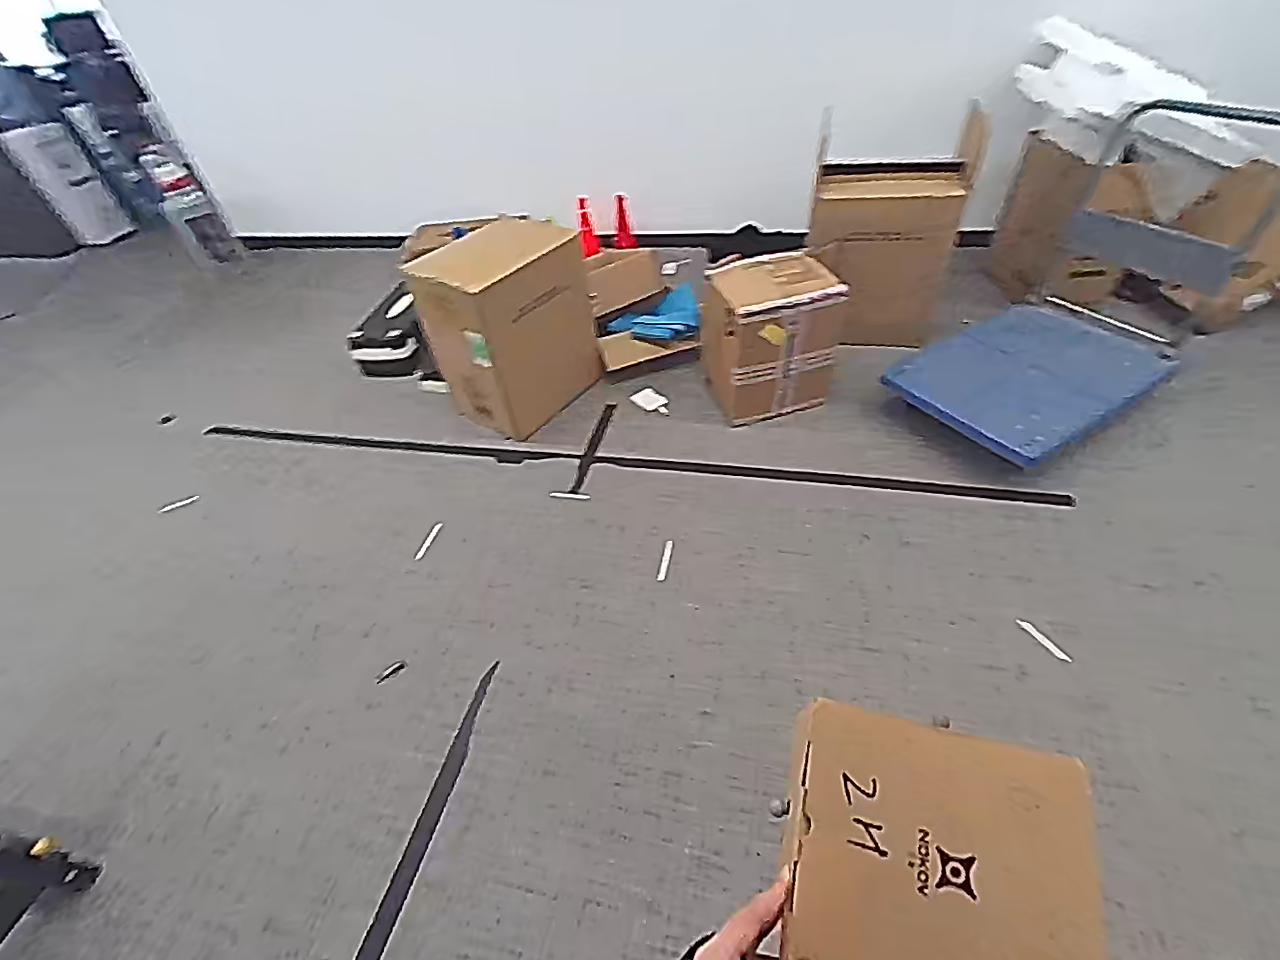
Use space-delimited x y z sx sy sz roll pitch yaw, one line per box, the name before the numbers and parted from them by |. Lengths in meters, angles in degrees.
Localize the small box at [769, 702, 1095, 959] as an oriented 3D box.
small box | 0.201 0.282 0.415 0.179 0.176 0.168 8 64 15
